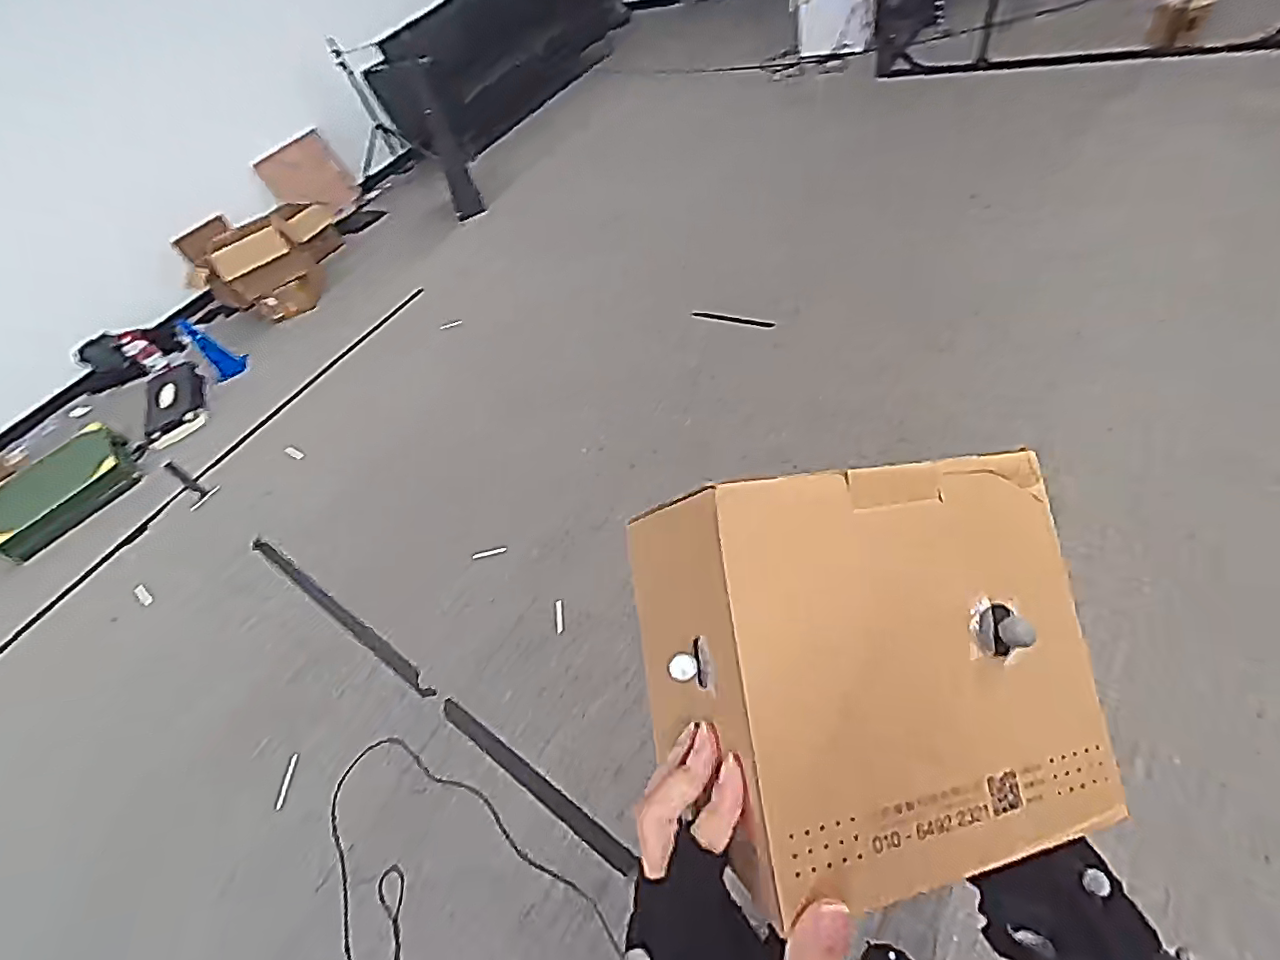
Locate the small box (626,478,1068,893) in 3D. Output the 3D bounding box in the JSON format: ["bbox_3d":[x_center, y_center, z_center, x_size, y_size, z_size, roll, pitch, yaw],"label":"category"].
[{"bbox_3d":[0.098,0.104,0.320,0.168,0.179,0.176,-6,81,-15],"label":"small box"}]
